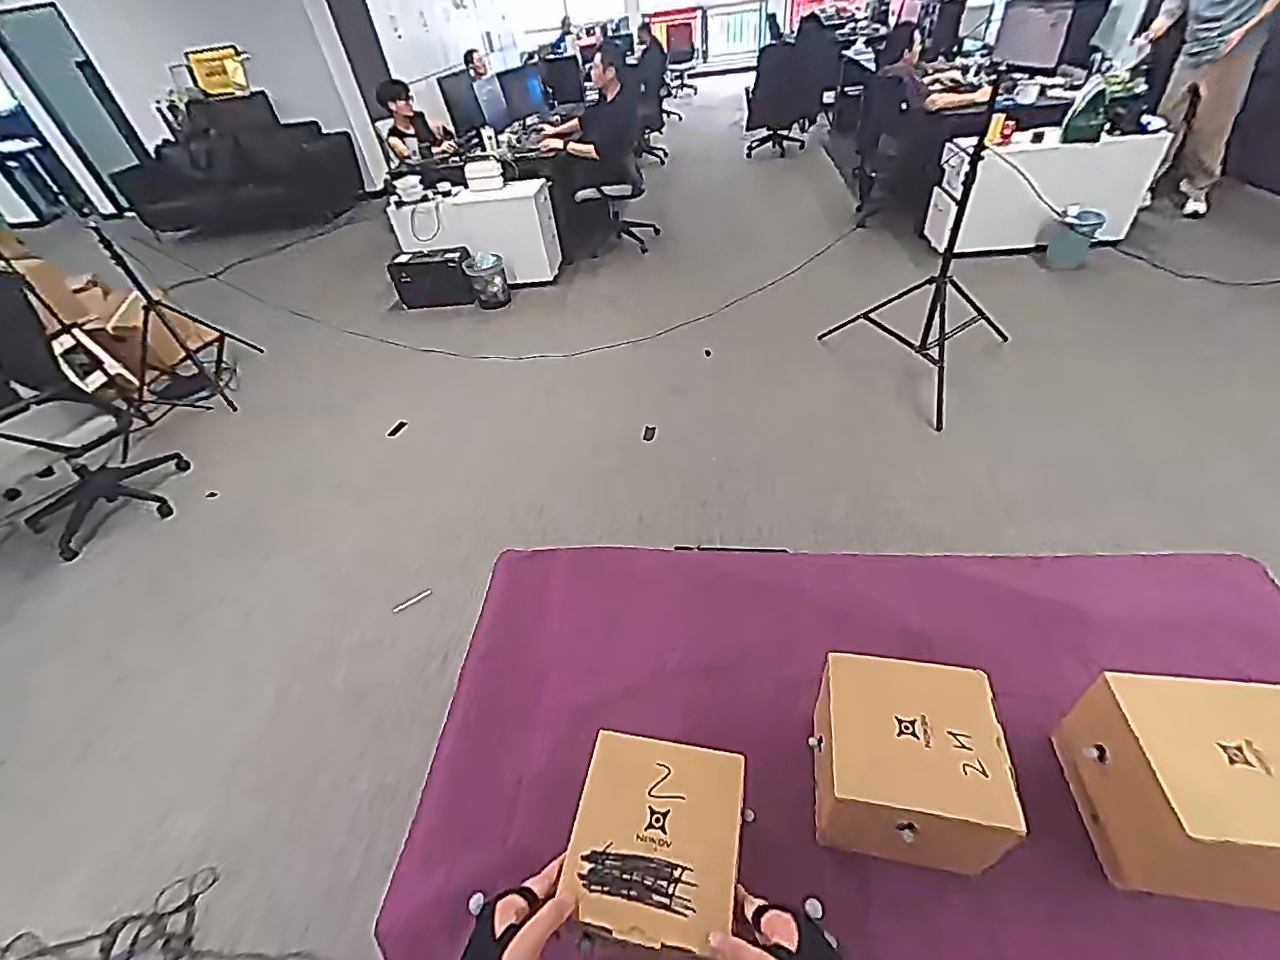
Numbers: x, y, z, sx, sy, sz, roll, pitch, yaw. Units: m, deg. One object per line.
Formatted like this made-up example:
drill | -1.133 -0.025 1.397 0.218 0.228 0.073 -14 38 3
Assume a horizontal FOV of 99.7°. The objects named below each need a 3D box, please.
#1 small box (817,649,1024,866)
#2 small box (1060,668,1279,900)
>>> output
small box | 0.304 0.325 0.636 0.179 0.176 0.168 4 44 13
small box | 0.600 0.327 0.586 0.179 0.176 0.168 1 41 10
